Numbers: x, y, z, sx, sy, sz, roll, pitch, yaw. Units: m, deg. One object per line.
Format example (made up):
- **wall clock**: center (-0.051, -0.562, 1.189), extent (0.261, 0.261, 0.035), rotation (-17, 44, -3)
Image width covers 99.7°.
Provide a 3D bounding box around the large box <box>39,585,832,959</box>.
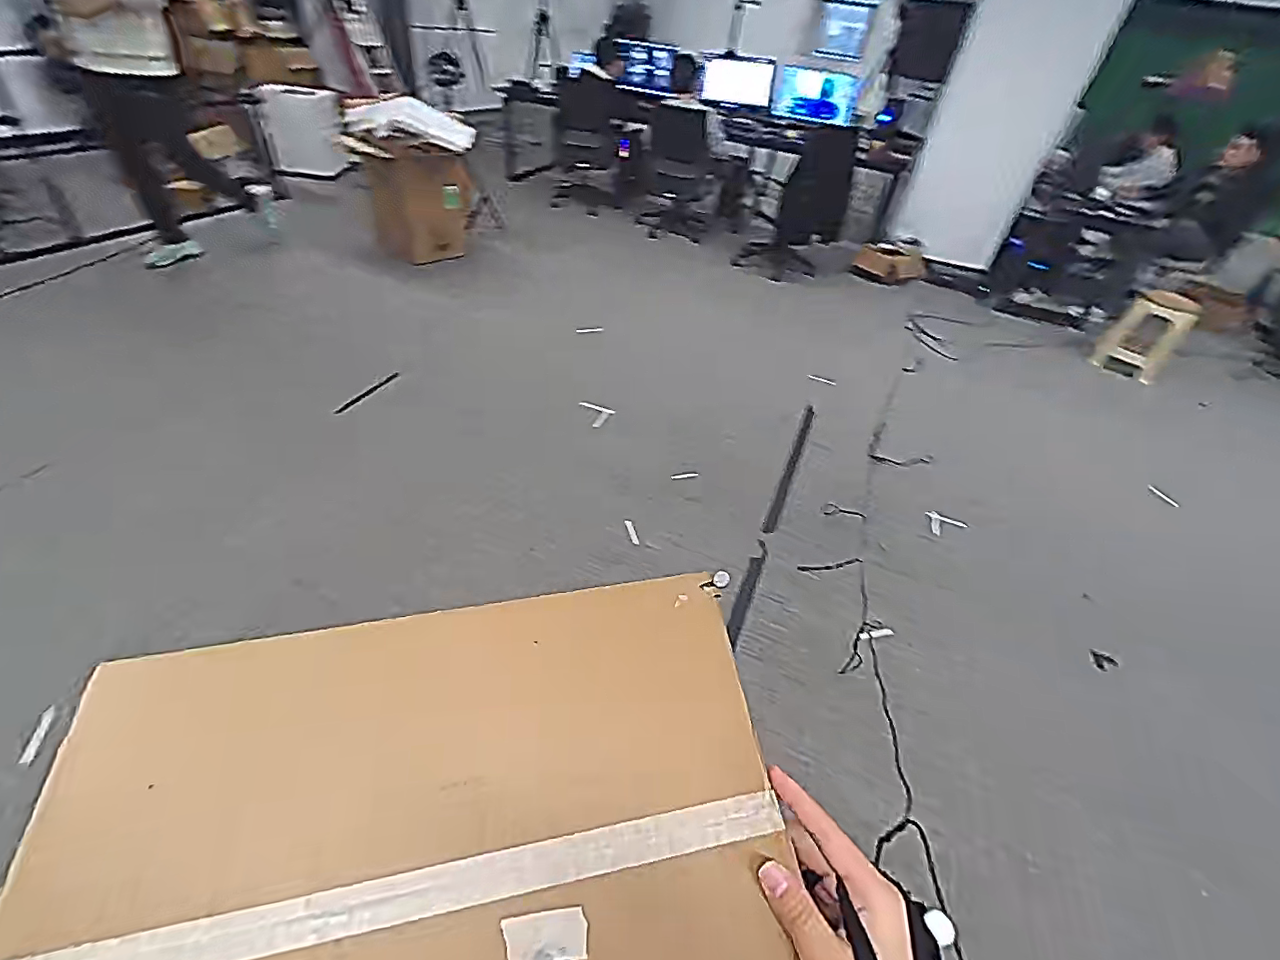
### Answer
- **large box**: center (-0.115, 0.313, 0.413), extent (0.408, 0.320, 0.320), rotation (-6, 55, -9)
